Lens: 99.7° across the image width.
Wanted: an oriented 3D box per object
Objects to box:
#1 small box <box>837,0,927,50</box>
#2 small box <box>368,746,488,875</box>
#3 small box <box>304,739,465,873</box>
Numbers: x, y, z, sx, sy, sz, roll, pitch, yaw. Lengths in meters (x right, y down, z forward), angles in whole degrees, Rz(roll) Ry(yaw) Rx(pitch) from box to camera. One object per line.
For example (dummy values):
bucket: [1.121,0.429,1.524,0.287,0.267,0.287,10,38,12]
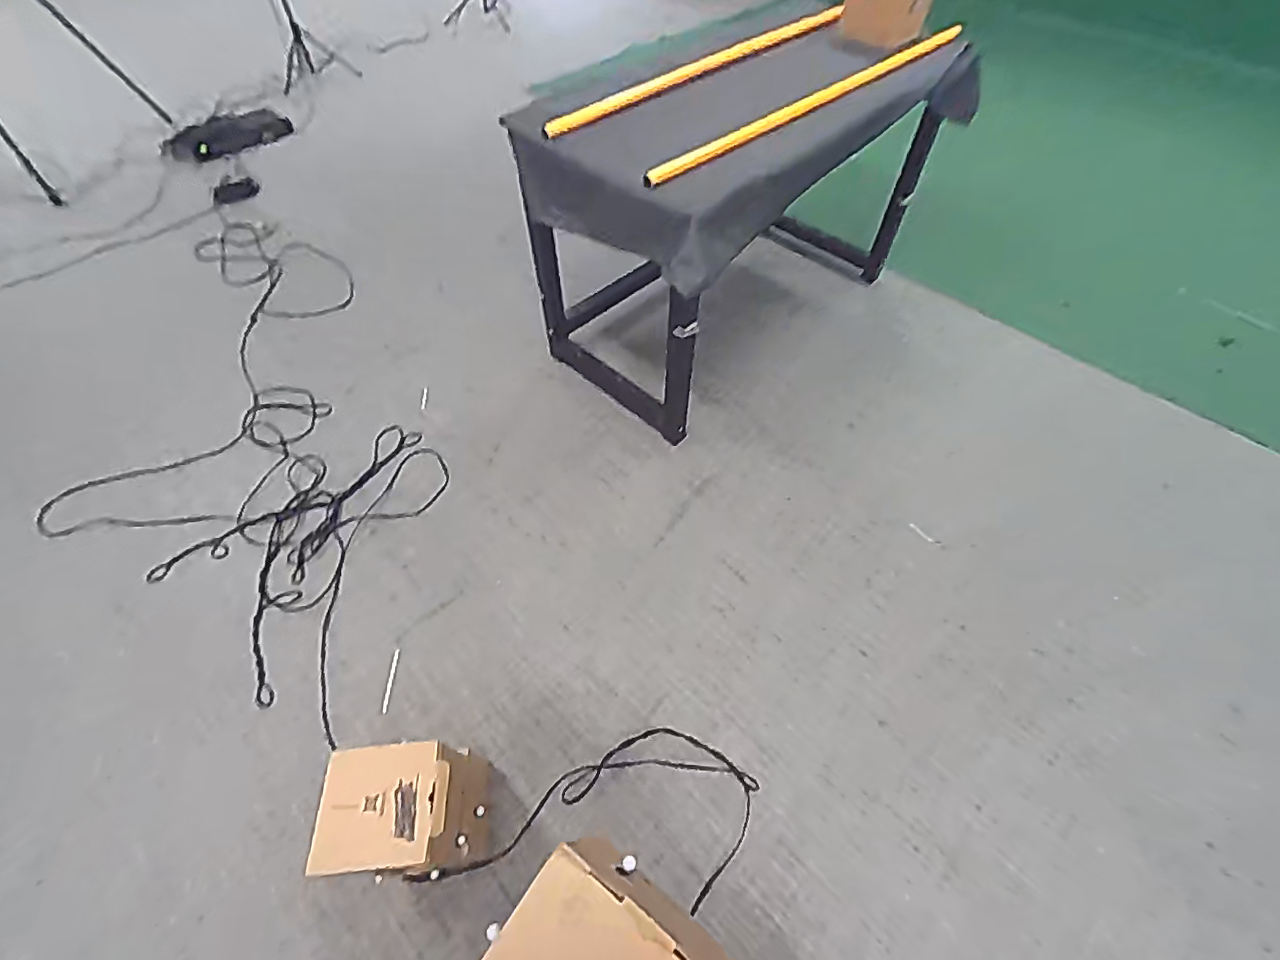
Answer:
small box: [0.679,-1.323,1.493,0.168,0.176,0.179,-39,63,-23]
small box: [-0.388,0.622,1.022,0.168,0.176,0.179,-9,55,-6]
small box: [-0.399,0.532,0.884,0.179,0.176,0.168,-5,54,-2]
